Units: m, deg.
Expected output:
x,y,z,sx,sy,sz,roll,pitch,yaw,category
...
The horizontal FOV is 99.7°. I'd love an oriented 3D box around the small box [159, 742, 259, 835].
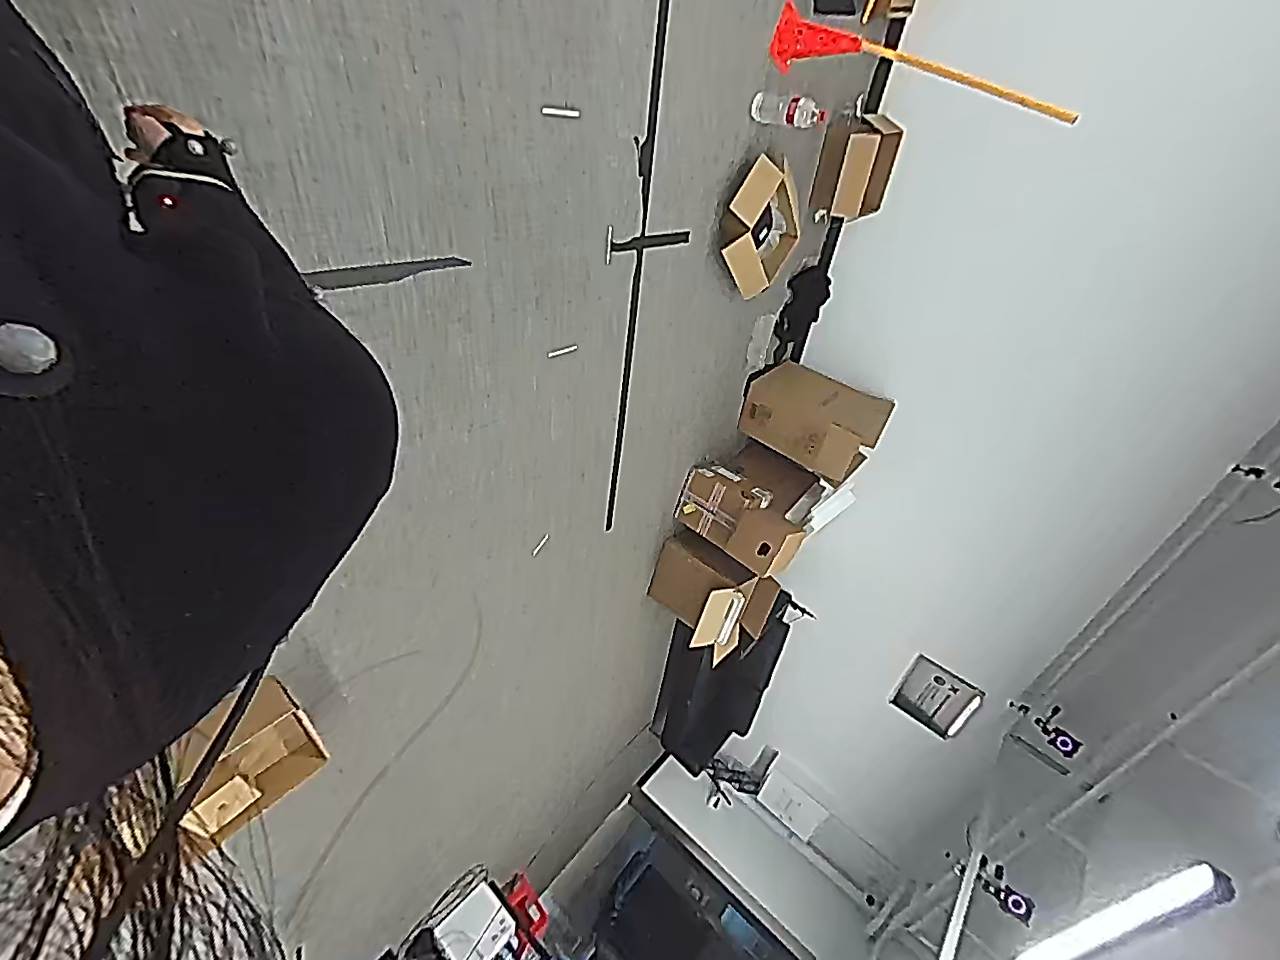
x,y,z,sx,sy,sz,roll,pitch,yaw,category
-1.360,0.969,1.709,0.168,0.176,0.179,-39,146,-34,small box
